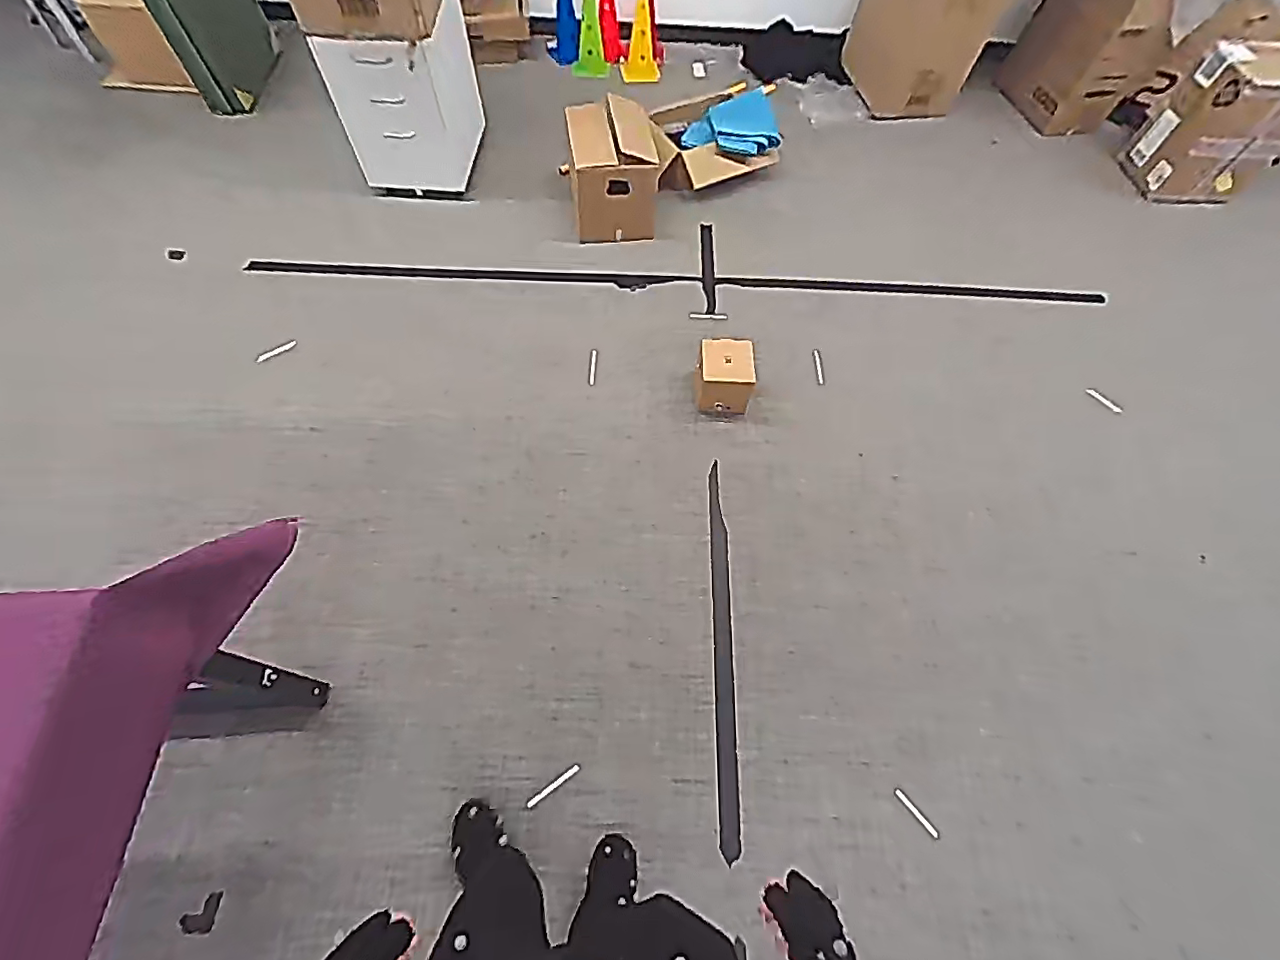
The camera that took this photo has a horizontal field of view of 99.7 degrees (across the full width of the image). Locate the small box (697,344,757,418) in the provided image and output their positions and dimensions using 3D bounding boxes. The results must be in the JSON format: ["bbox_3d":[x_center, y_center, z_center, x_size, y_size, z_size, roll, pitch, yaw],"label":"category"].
[{"bbox_3d":[0.282,-0.326,1.787,0.168,0.176,0.179,2,62,-1],"label":"small box"}]
